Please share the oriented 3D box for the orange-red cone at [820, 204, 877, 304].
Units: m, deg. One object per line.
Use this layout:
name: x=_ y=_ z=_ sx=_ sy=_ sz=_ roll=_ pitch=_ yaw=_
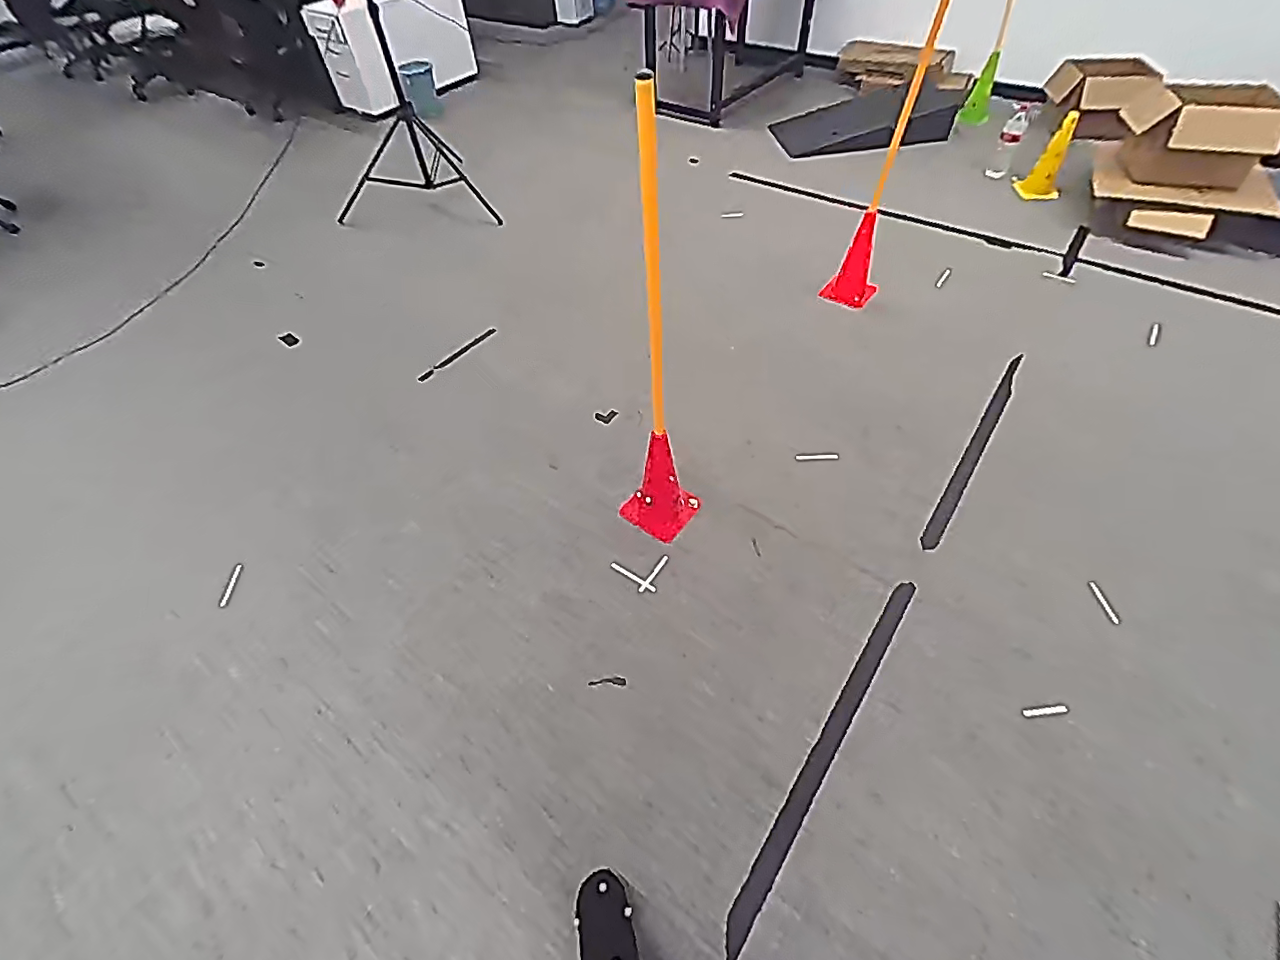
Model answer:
orange-red cone: x=0.903 y=-0.949 z=2.222 sx=0.198 sy=0.360 sz=0.199 roll=33 pitch=60 yaw=24
